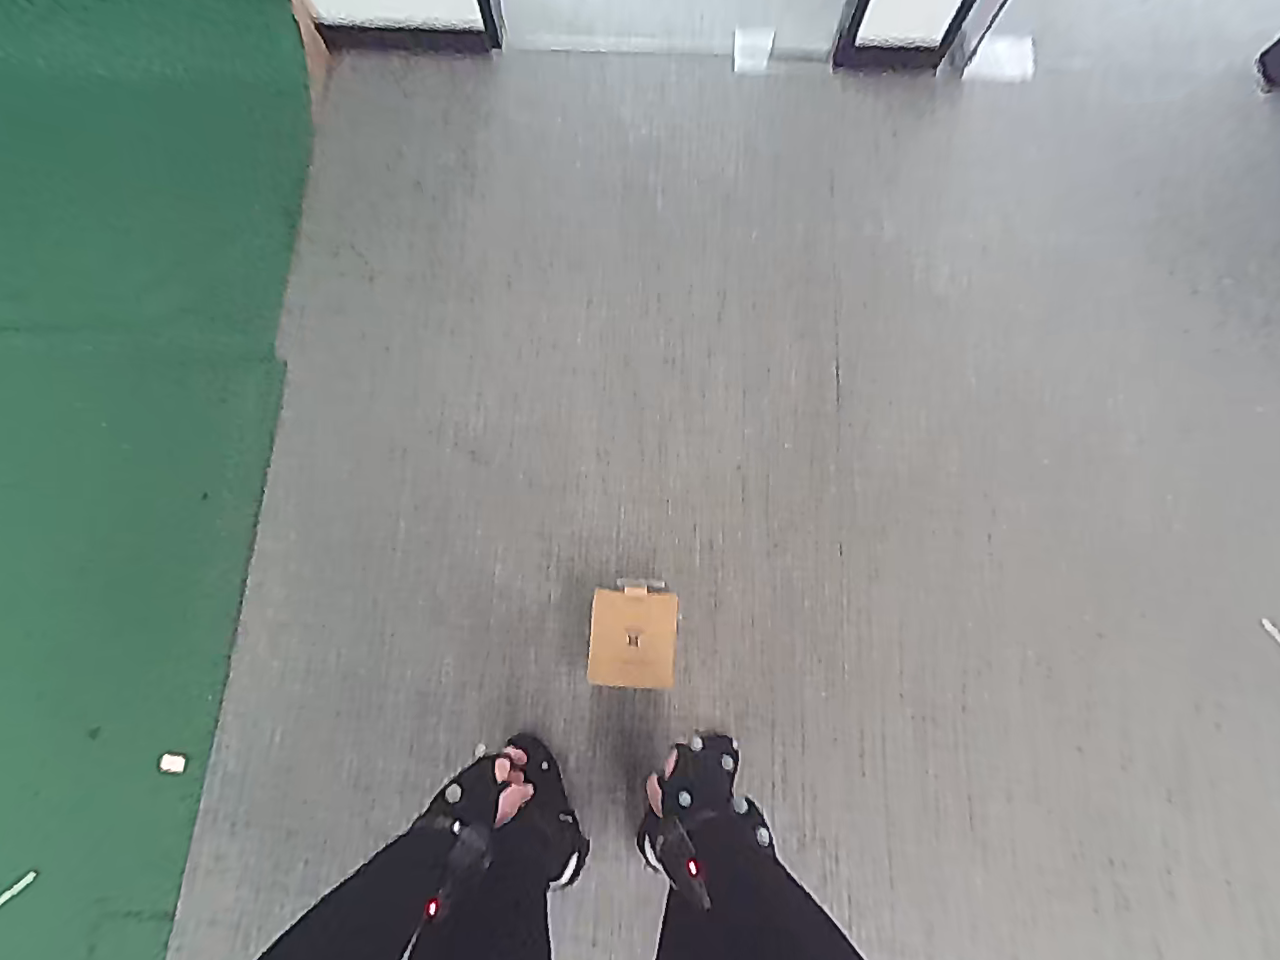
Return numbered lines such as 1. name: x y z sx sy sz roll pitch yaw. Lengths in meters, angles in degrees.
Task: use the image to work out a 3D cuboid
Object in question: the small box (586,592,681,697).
1. small box: -0.010 0.324 1.090 0.168 0.176 0.179 5 78 3
